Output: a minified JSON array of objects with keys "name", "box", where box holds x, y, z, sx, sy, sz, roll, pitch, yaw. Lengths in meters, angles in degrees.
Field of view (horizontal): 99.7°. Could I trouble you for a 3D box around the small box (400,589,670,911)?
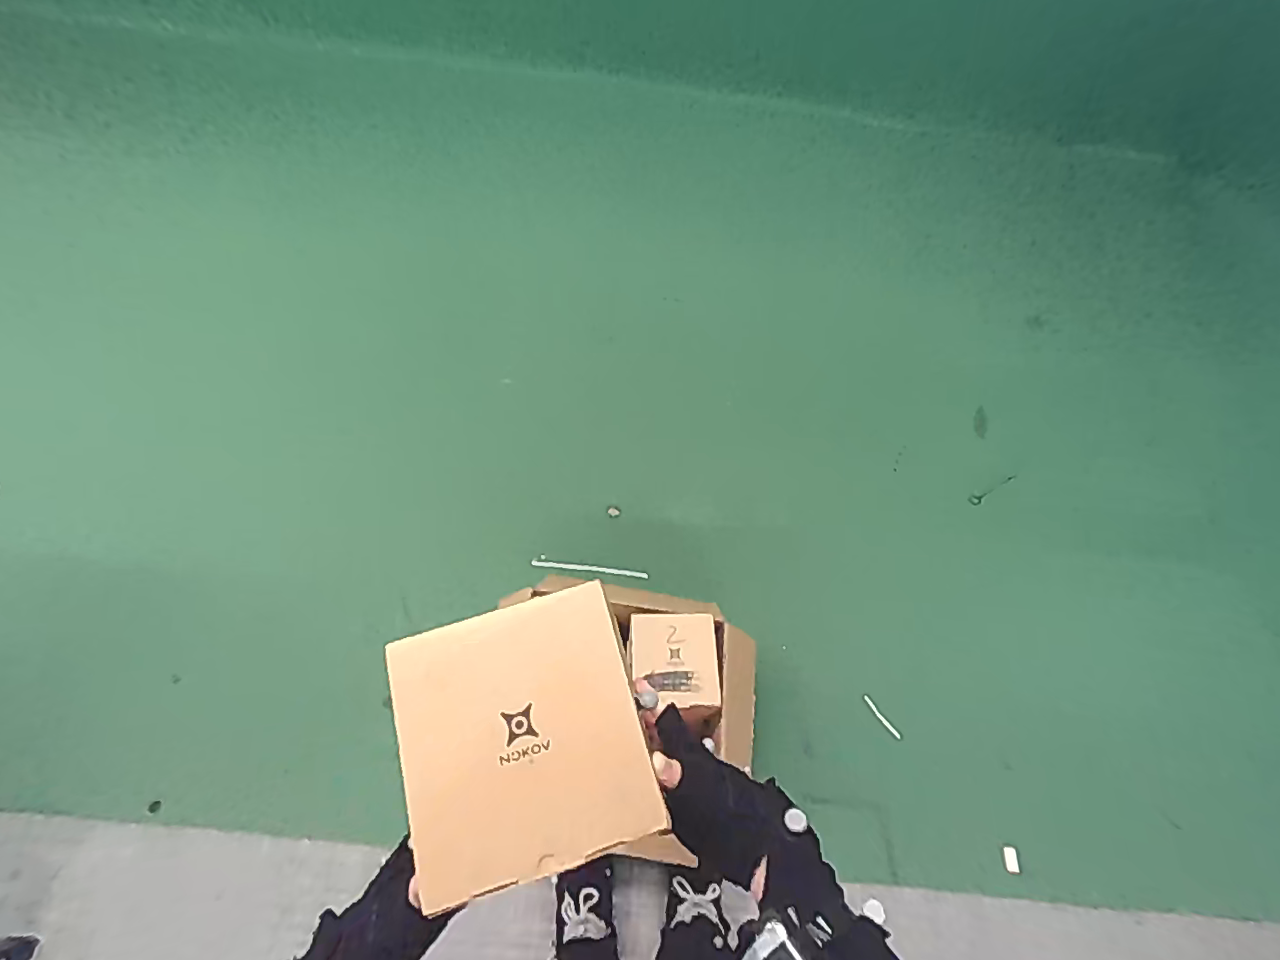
[{"name":"small box","box":[-0.083,0.211,0.461,0.168,0.176,0.179,-15,71,-7]}]
